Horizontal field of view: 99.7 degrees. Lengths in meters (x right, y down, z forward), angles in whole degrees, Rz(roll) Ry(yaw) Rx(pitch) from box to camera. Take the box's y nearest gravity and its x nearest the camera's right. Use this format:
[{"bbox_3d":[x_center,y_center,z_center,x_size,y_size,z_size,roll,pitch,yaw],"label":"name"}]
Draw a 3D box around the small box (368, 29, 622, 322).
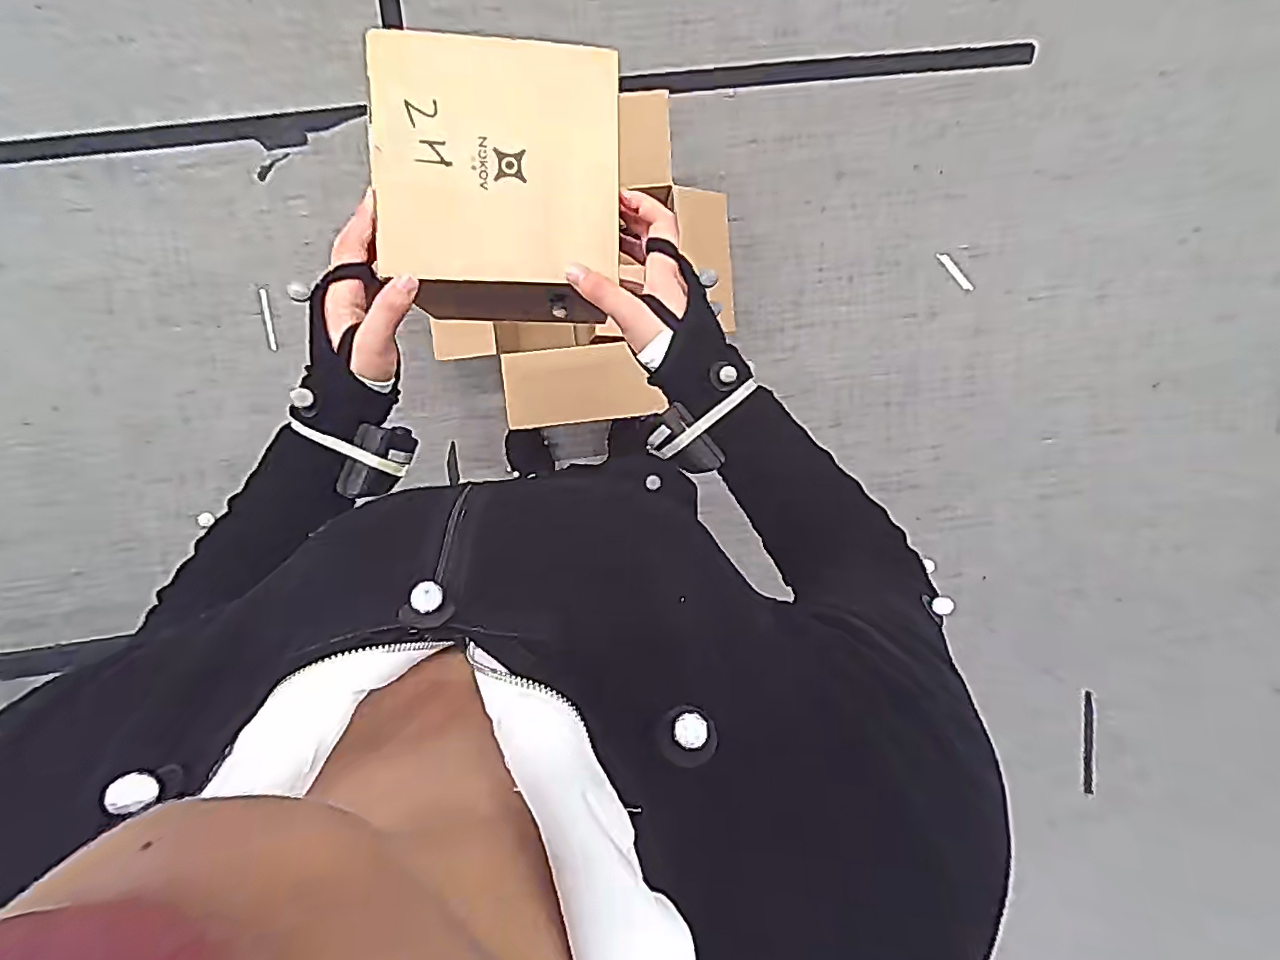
[{"bbox_3d":[-0.110,-0.235,0.466,0.179,0.176,0.168,0,97,-6],"label":"small box"}]
